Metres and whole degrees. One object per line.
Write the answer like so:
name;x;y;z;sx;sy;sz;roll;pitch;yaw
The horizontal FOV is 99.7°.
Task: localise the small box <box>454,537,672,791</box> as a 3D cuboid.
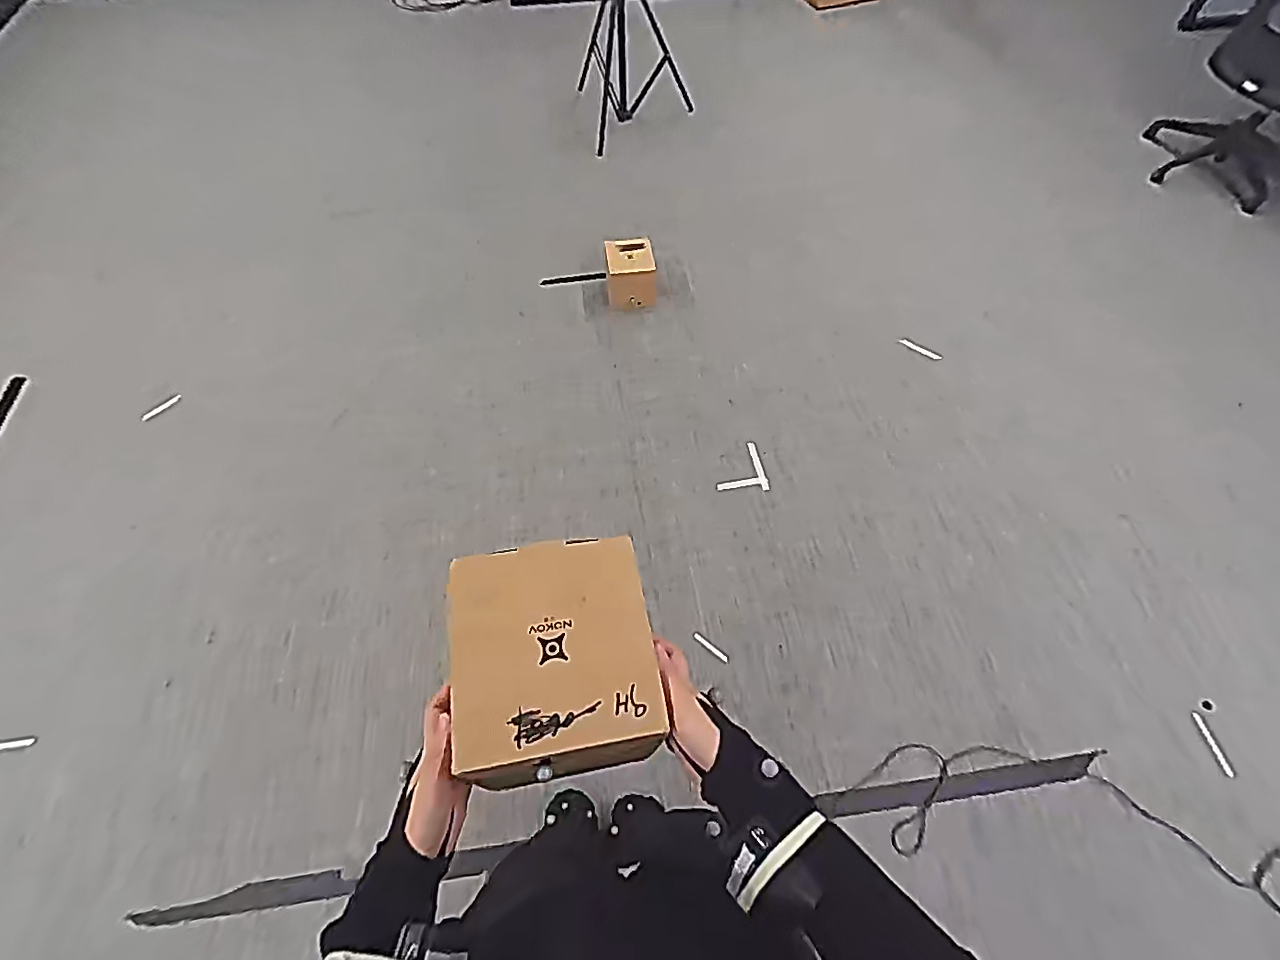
small box;-0.076;0.176;0.513;0.168;0.176;0.179;-7;57;-10
